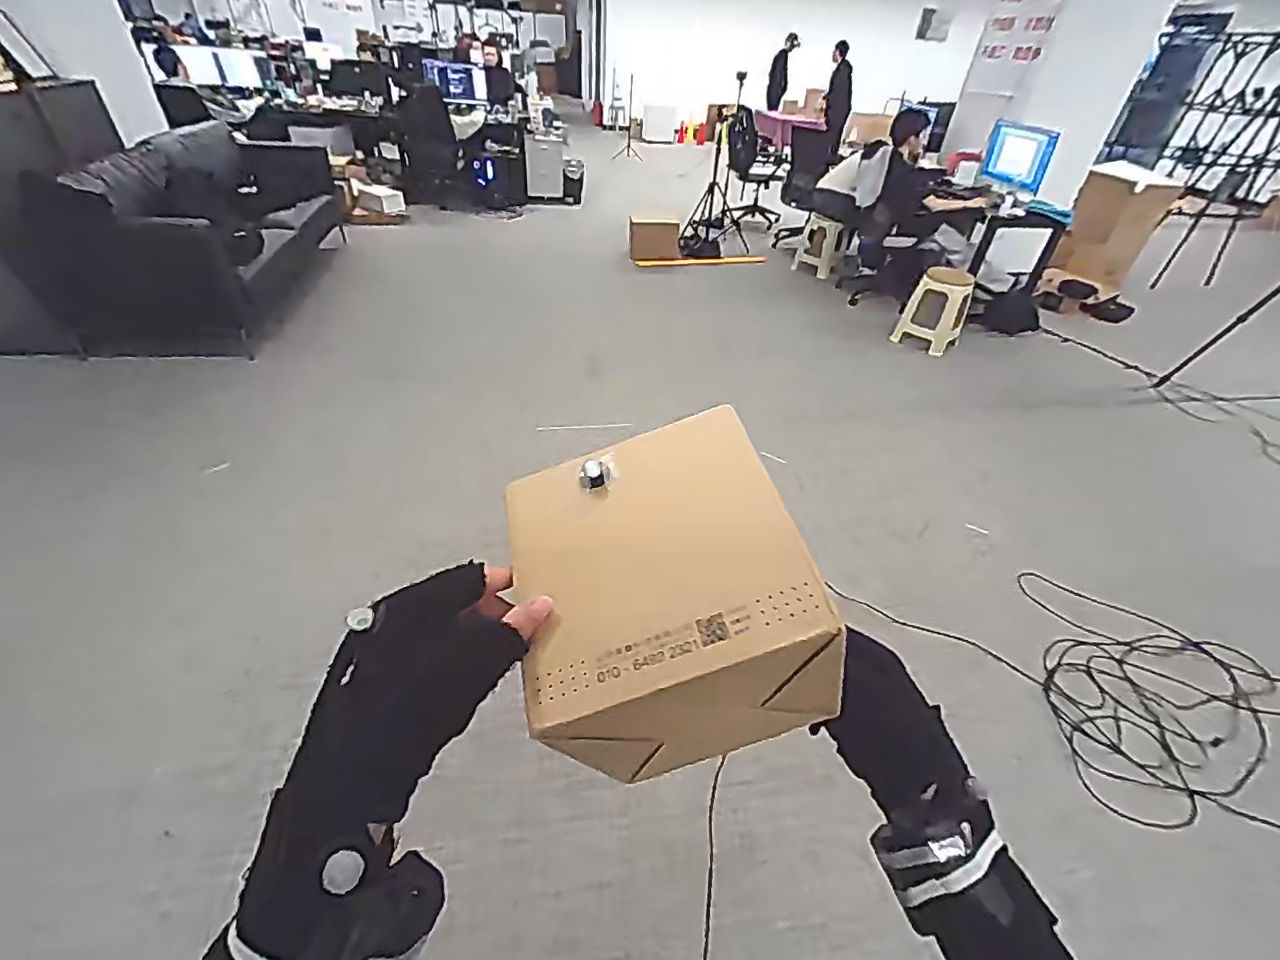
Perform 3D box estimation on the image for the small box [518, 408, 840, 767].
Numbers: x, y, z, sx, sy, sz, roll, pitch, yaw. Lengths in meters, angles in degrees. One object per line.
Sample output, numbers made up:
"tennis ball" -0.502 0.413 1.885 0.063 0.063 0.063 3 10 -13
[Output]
"small box" 0.028 0.087 0.387 0.168 0.179 0.176 -20 51 3
